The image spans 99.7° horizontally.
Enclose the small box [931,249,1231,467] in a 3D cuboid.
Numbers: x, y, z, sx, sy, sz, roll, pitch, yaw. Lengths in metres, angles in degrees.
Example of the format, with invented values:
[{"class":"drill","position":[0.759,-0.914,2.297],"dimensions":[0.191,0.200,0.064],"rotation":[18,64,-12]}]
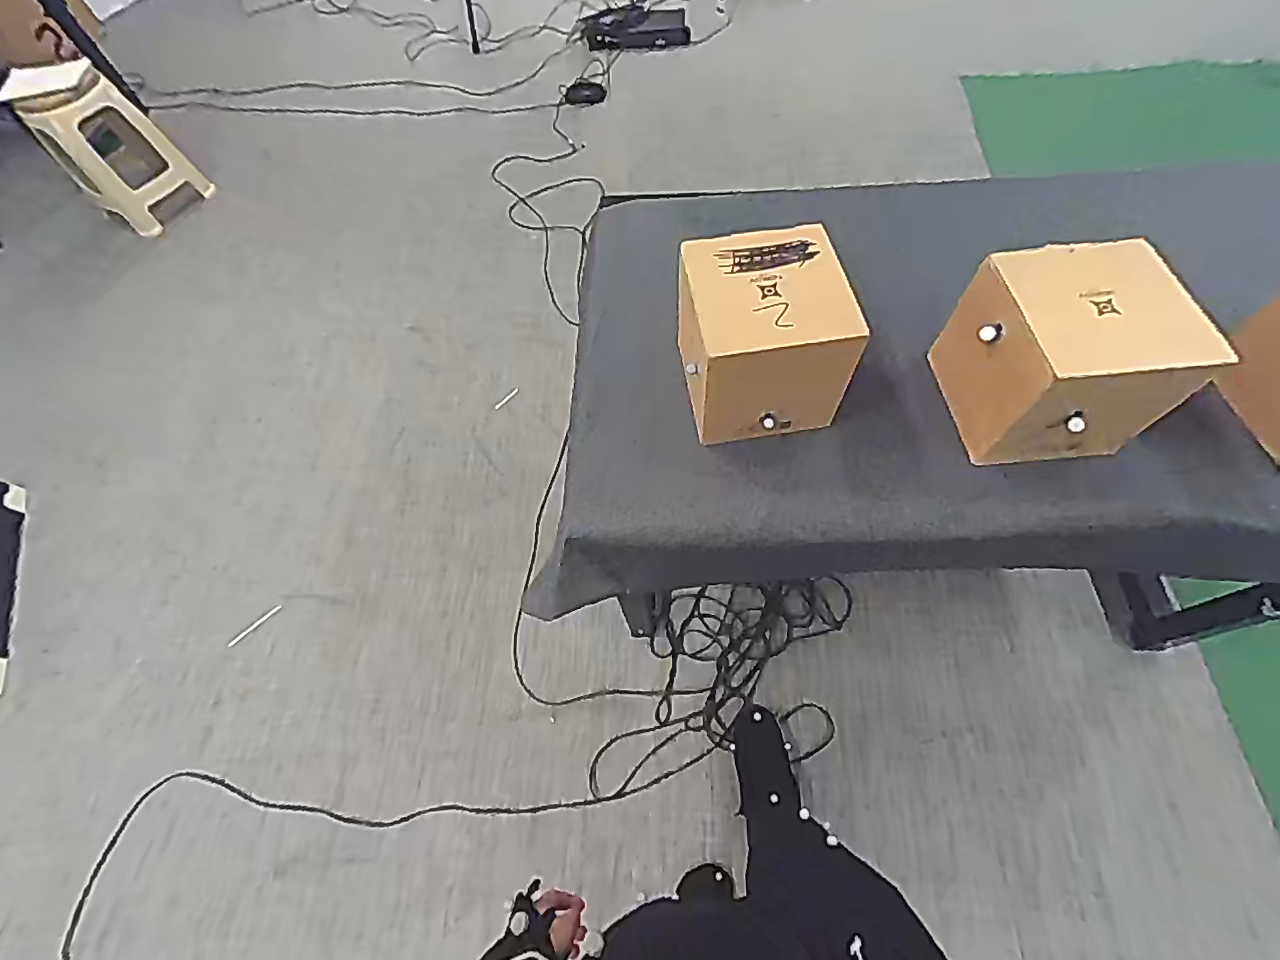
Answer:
[{"class":"small box","position":[0.464,-0.125,0.608],"dimensions":[0.168,0.176,0.179],"rotation":[-5,60,2]}]

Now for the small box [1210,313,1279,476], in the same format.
[{"class":"small box","position":[0.788,-0.112,0.577],"dimensions":[0.168,0.176,0.179],"rotation":[-7,61,2]}]
